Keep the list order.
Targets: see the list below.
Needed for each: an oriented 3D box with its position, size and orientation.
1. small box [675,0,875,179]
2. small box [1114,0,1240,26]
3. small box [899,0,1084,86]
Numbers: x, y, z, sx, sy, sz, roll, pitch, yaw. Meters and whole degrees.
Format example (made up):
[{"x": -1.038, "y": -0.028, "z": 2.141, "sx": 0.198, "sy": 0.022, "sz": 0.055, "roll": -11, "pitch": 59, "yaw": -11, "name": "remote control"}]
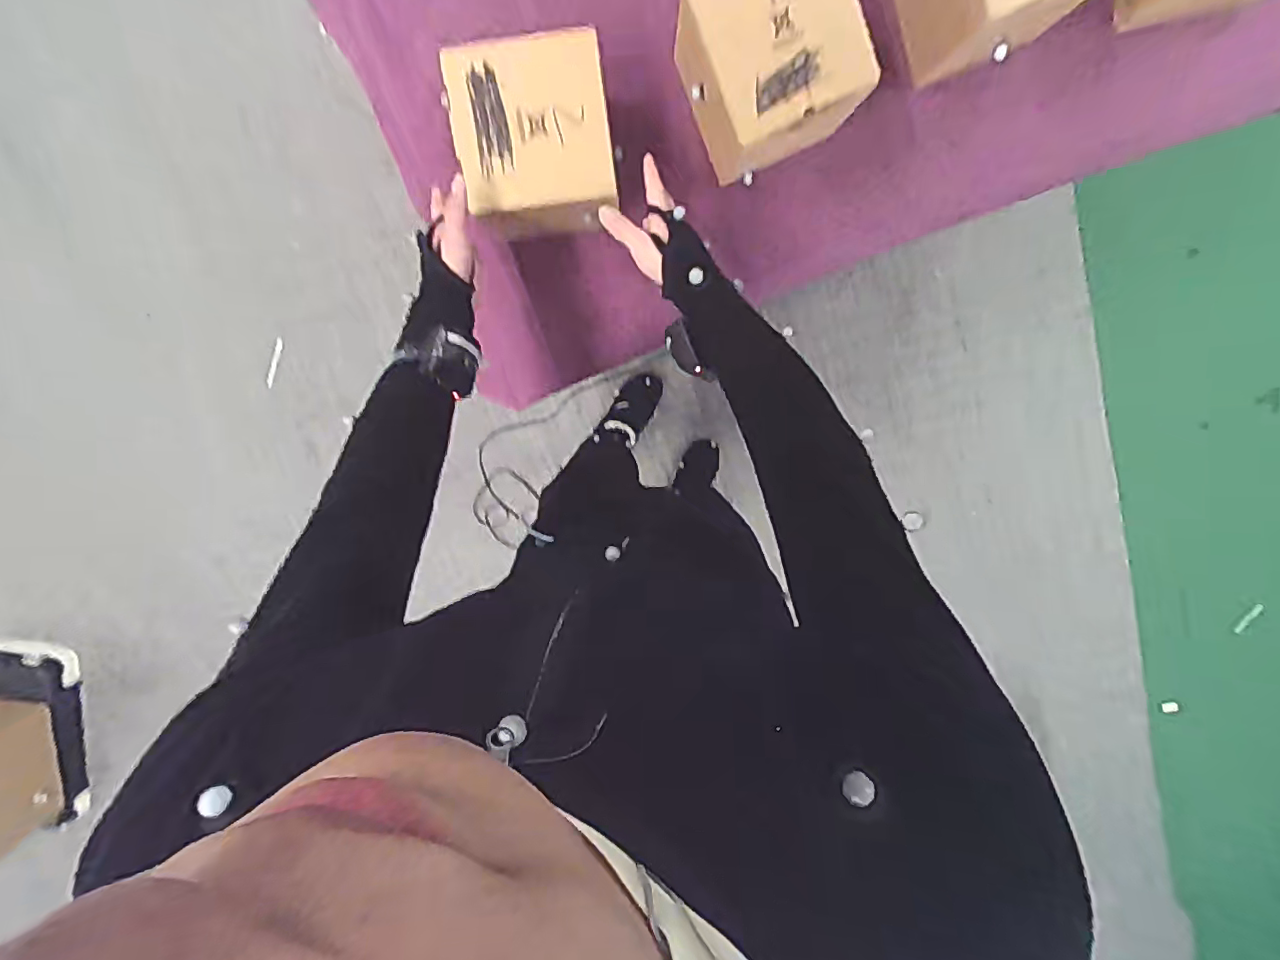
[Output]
[{"x": 0.150, "y": -0.494, "z": 0.654, "sx": 0.168, "sy": 0.176, "sz": 0.179, "roll": -23, "pitch": 103, "yaw": 6, "name": "small box"}, {"x": 0.693, "y": -0.662, "z": 0.606, "sx": 0.179, "sy": 0.176, "sz": 0.168, "roll": -10, "pitch": 105, "yaw": 4, "name": "small box"}, {"x": 0.412, "y": -0.610, "z": 0.621, "sx": 0.168, "sy": 0.176, "sz": 0.179, "roll": -20, "pitch": 104, "yaw": 6, "name": "small box"}]
